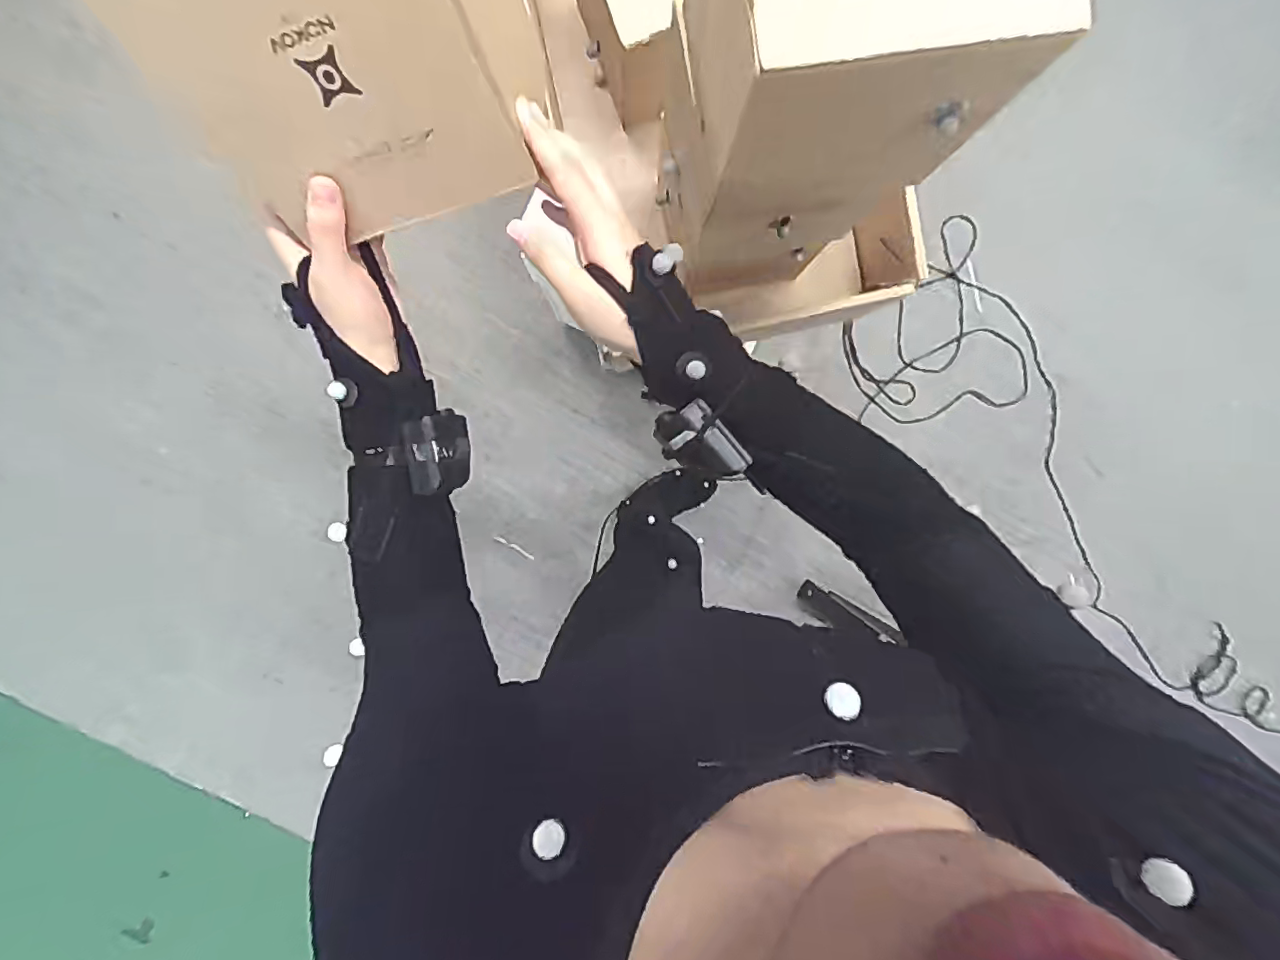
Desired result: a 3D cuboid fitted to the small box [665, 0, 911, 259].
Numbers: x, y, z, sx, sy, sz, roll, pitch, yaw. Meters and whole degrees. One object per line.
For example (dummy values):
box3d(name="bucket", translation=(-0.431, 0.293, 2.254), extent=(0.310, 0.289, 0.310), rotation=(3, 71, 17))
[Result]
box3d(name="small box", translation=(0.125, -0.334, 0.521), extent=(0.179, 0.176, 0.168), rotation=(-11, 93, 1))

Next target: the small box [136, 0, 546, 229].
box3d(name="small box", translation=(-0.166, -0.298, 0.332), extent=(0.168, 0.179, 0.176), rotation=(-10, 56, 10))

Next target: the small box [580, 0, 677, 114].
box3d(name="small box", translation=(0.024, -0.590, 0.662), extent=(0.168, 0.176, 0.179), rotation=(-21, 97, 0))
